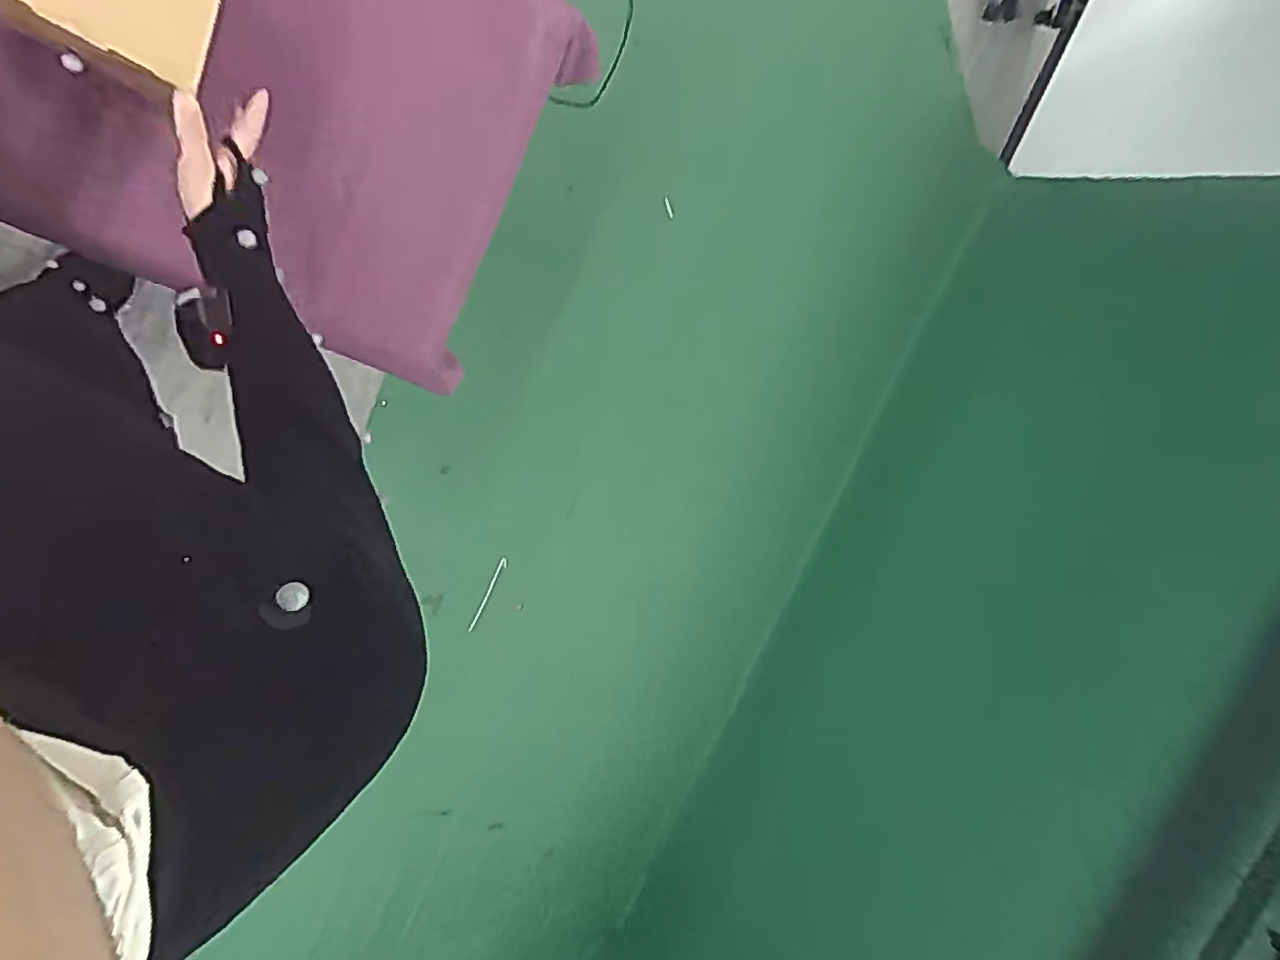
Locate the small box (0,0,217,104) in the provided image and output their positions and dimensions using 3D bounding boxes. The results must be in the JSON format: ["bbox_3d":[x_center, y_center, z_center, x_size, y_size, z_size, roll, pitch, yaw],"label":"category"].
[{"bbox_3d":[-0.495,-0.483,0.488,0.168,0.176,0.179,15,101,-47],"label":"small box"}]
